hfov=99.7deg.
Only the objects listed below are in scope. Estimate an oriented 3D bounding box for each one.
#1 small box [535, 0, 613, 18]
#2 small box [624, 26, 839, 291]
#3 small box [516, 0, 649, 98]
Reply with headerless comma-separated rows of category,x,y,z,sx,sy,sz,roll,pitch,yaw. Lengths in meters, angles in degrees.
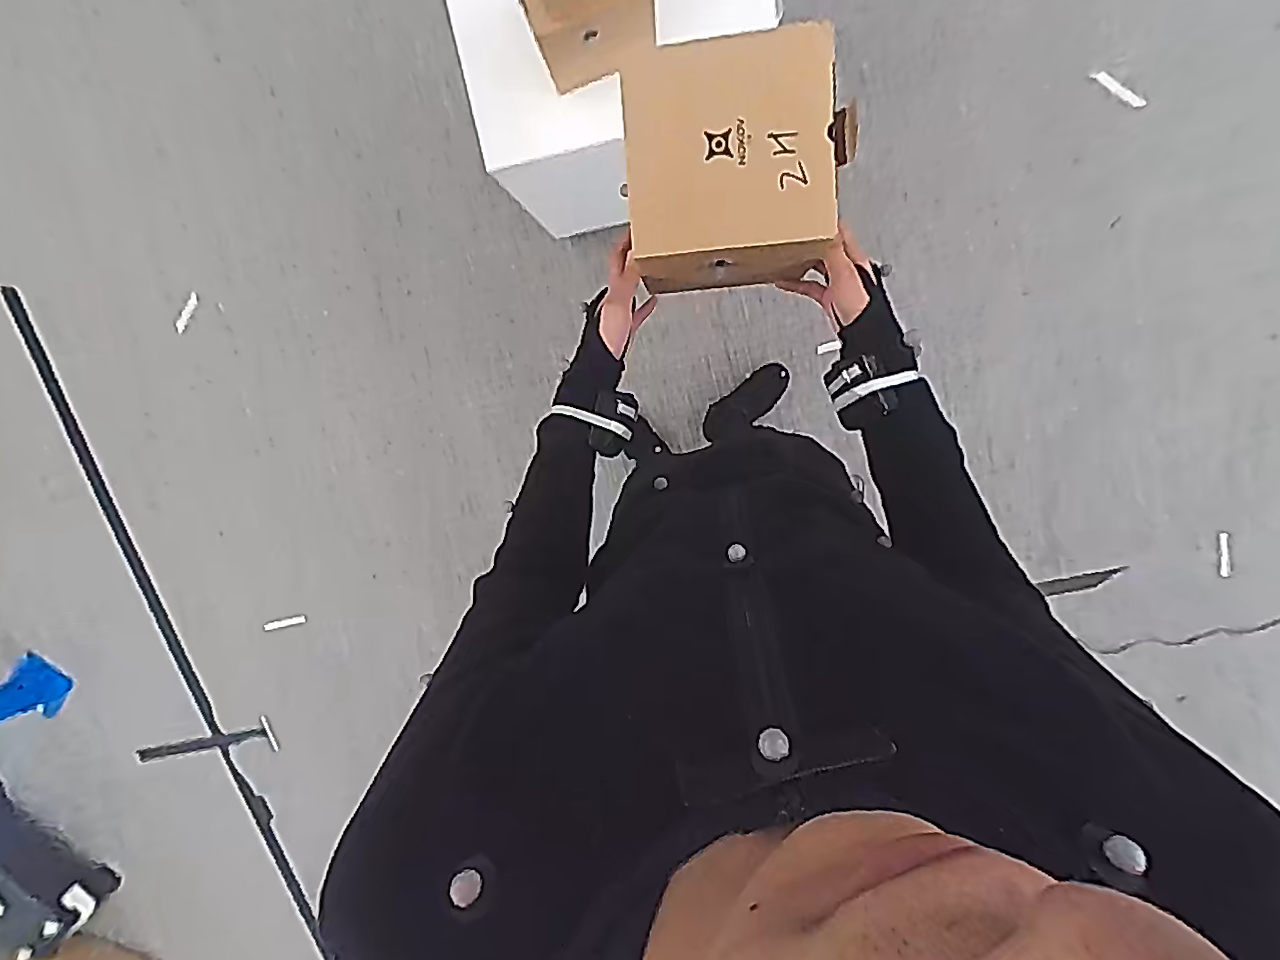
small box,-0.080,-0.702,0.640,0.168,0.176,0.179,-15,100,6
small box,0.084,-0.290,0.530,0.179,0.176,0.168,-3,98,5
small box,-0.090,-0.716,0.804,0.179,0.176,0.168,-18,101,6
